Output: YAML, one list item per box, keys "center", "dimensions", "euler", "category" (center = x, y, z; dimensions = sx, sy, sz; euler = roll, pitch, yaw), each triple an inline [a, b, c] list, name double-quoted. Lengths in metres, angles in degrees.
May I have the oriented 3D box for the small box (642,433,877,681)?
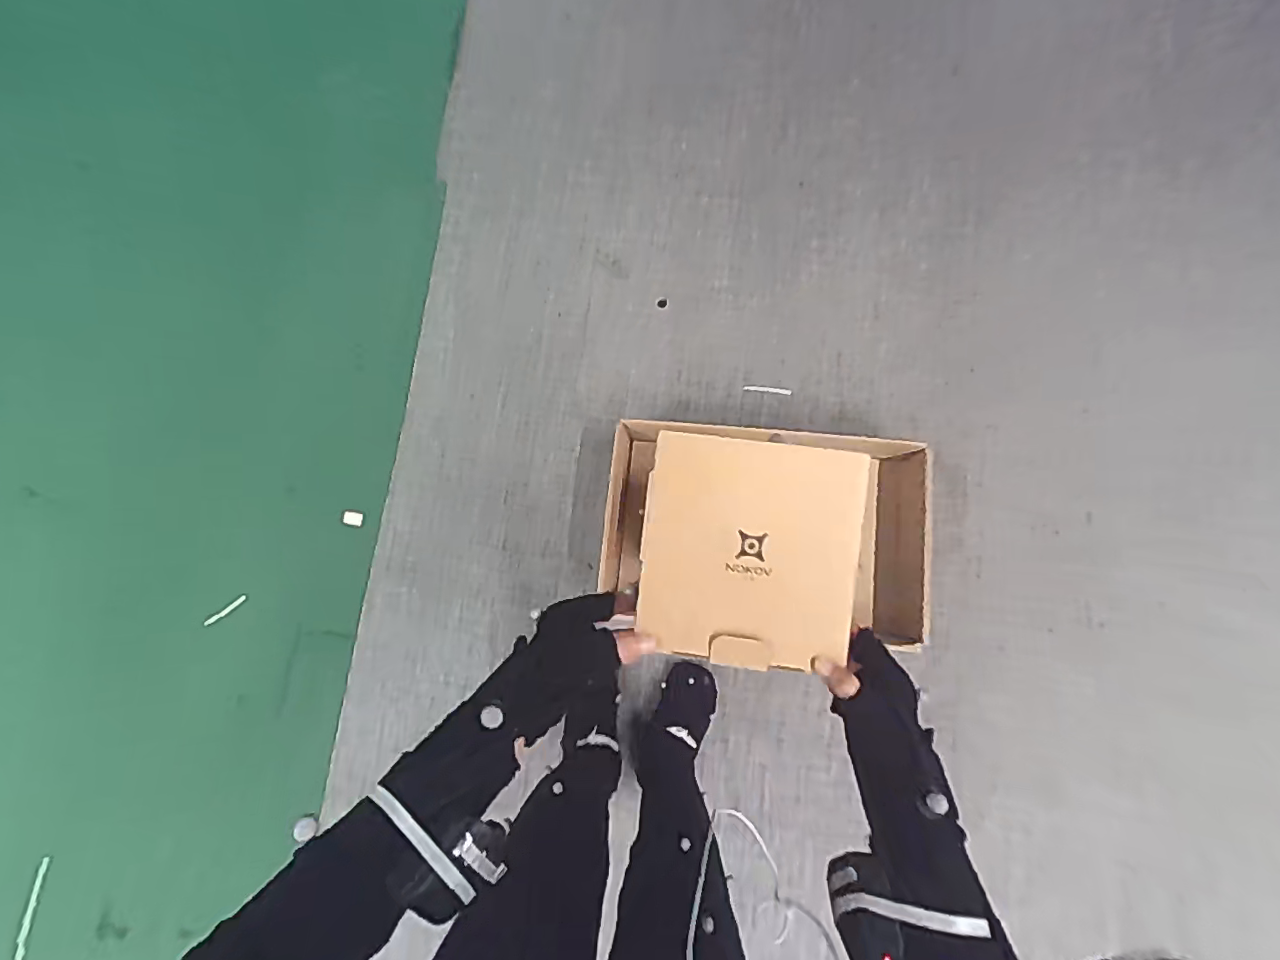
- center: [0.095, 0.060, 0.498]
  dimensions: [0.168, 0.176, 0.179]
  euler: [7, 90, 3]
  category: "small box"

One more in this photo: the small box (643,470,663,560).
- center: [0.102, 0.087, 1.095]
  dimensions: [0.168, 0.176, 0.179]
  euler: [6, 82, 6]
  category: "small box"
